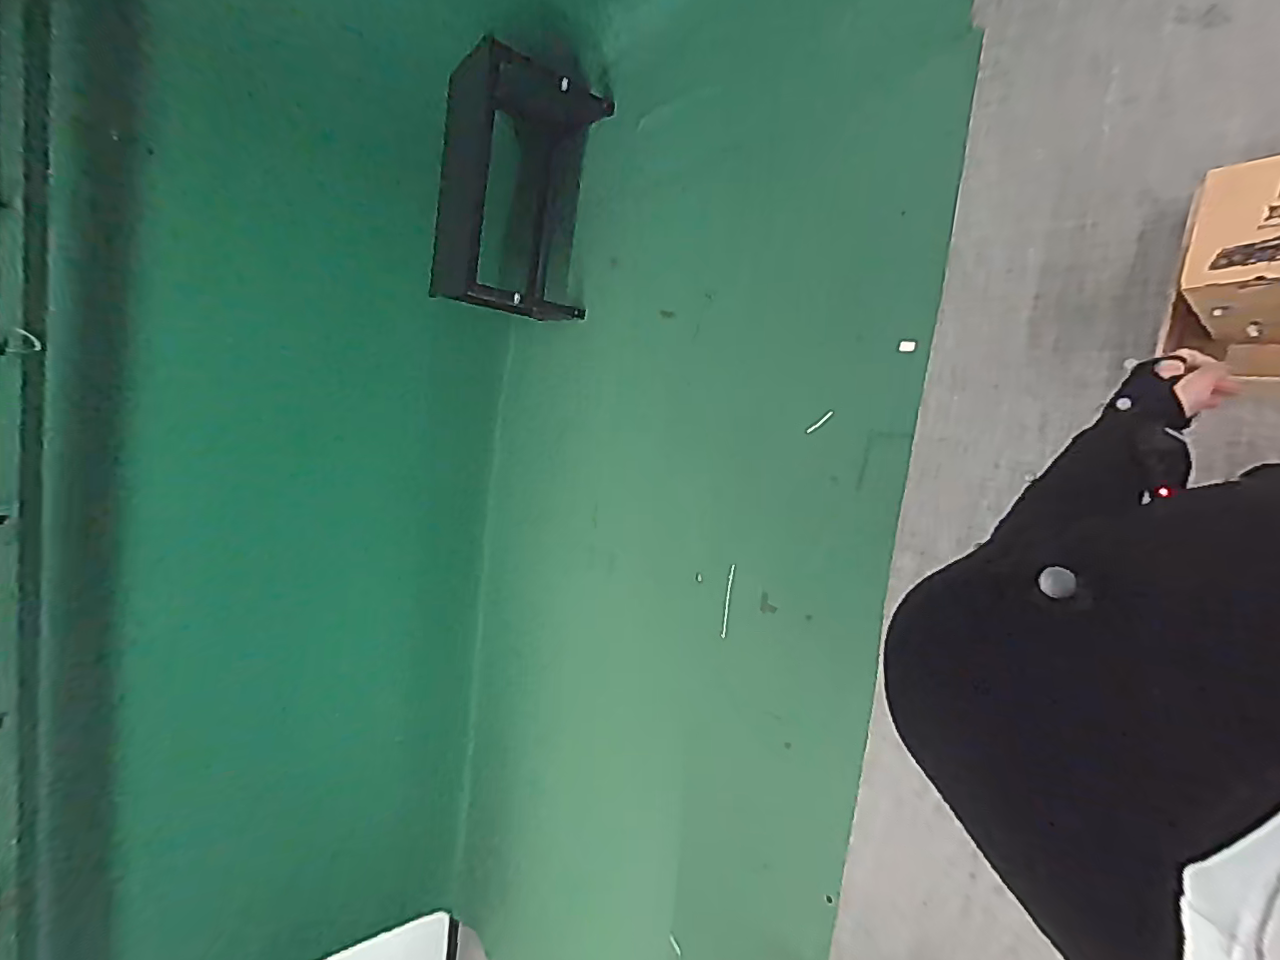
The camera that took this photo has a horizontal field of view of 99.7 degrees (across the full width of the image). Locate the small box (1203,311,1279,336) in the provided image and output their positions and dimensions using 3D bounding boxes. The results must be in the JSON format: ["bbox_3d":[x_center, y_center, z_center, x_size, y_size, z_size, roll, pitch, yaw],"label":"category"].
[{"bbox_3d":[1.199,-0.374,1.008,0.168,0.176,0.179,19,103,50],"label":"small box"}]

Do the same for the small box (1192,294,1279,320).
[{"bbox_3d":[1.073,-0.375,0.907,0.168,0.176,0.179,18,103,49],"label":"small box"}]

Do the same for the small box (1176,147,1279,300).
[{"bbox_3d":[0.944,-0.375,0.804,0.168,0.176,0.179,15,100,50],"label":"small box"}]
